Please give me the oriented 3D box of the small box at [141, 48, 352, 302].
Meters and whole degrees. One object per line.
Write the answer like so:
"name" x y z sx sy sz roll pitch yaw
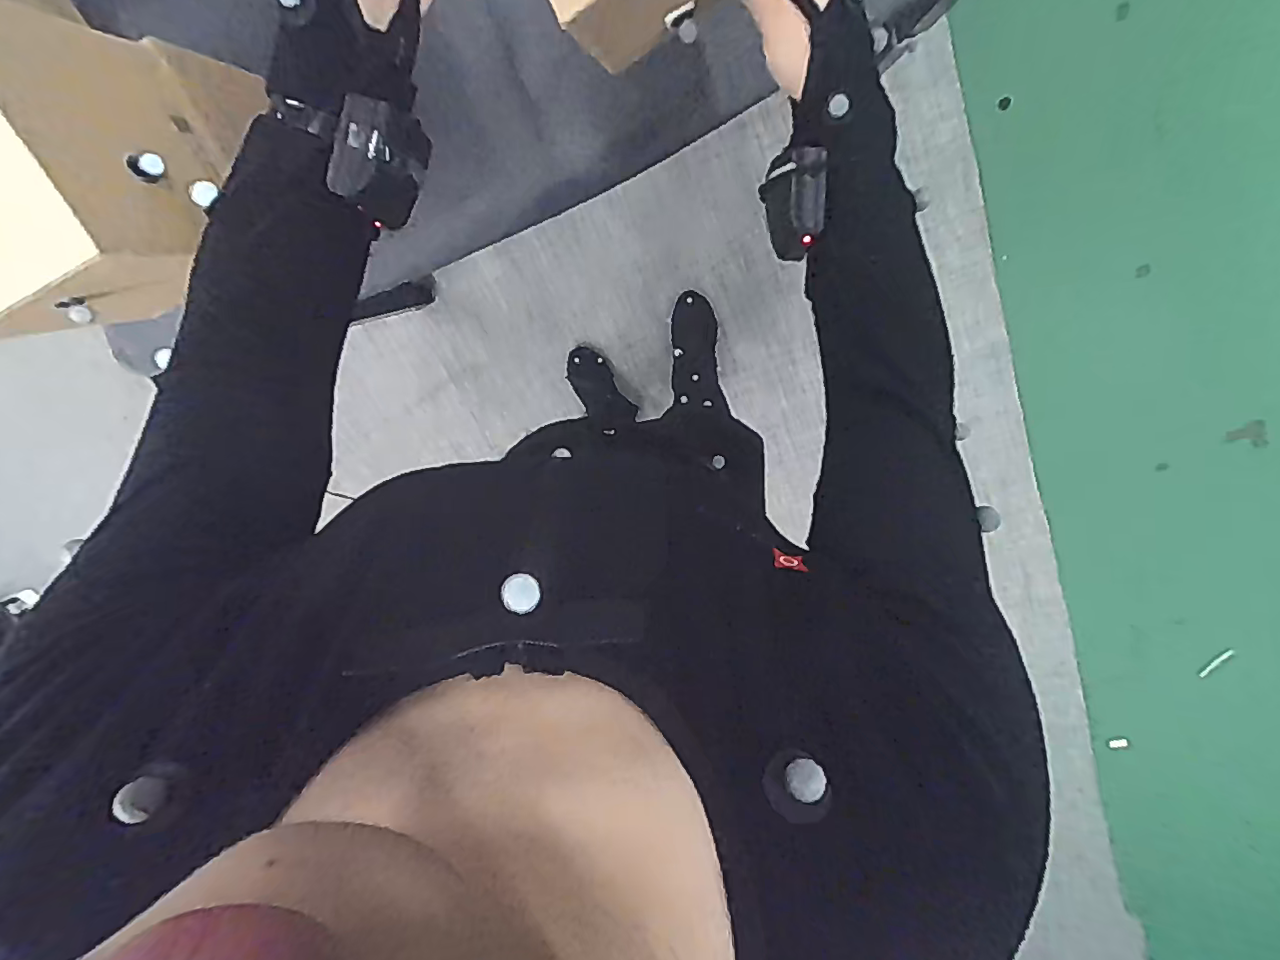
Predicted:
"small box" -0.442 -0.302 0.569 0.179 0.176 0.168 -17 111 14

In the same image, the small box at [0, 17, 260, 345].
"small box" -0.450 -0.225 0.426 0.179 0.176 0.168 -18 111 15
